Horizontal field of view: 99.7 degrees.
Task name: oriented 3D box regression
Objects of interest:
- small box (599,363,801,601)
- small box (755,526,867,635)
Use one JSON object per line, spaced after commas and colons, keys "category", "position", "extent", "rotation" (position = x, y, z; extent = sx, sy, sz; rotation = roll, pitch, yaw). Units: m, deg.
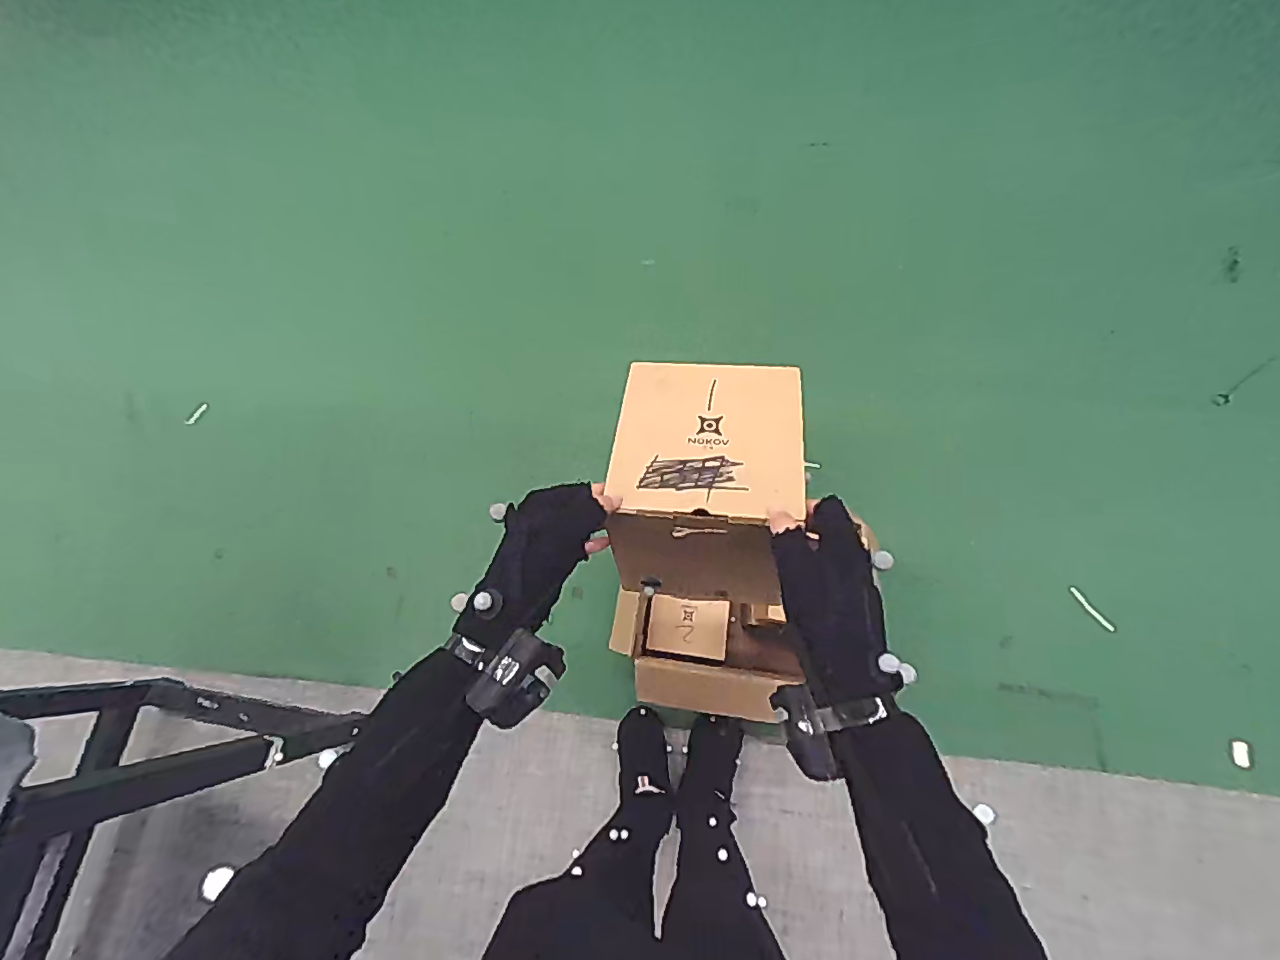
{"category": "small box", "position": [0.065, 0.006, 0.541], "extent": [0.168, 0.176, 0.179], "rotation": [4, 55, 9]}
{"category": "small box", "position": [0.320, 0.195, 1.040], "extent": [0.168, 0.176, 0.179], "rotation": [9, 74, 6]}
